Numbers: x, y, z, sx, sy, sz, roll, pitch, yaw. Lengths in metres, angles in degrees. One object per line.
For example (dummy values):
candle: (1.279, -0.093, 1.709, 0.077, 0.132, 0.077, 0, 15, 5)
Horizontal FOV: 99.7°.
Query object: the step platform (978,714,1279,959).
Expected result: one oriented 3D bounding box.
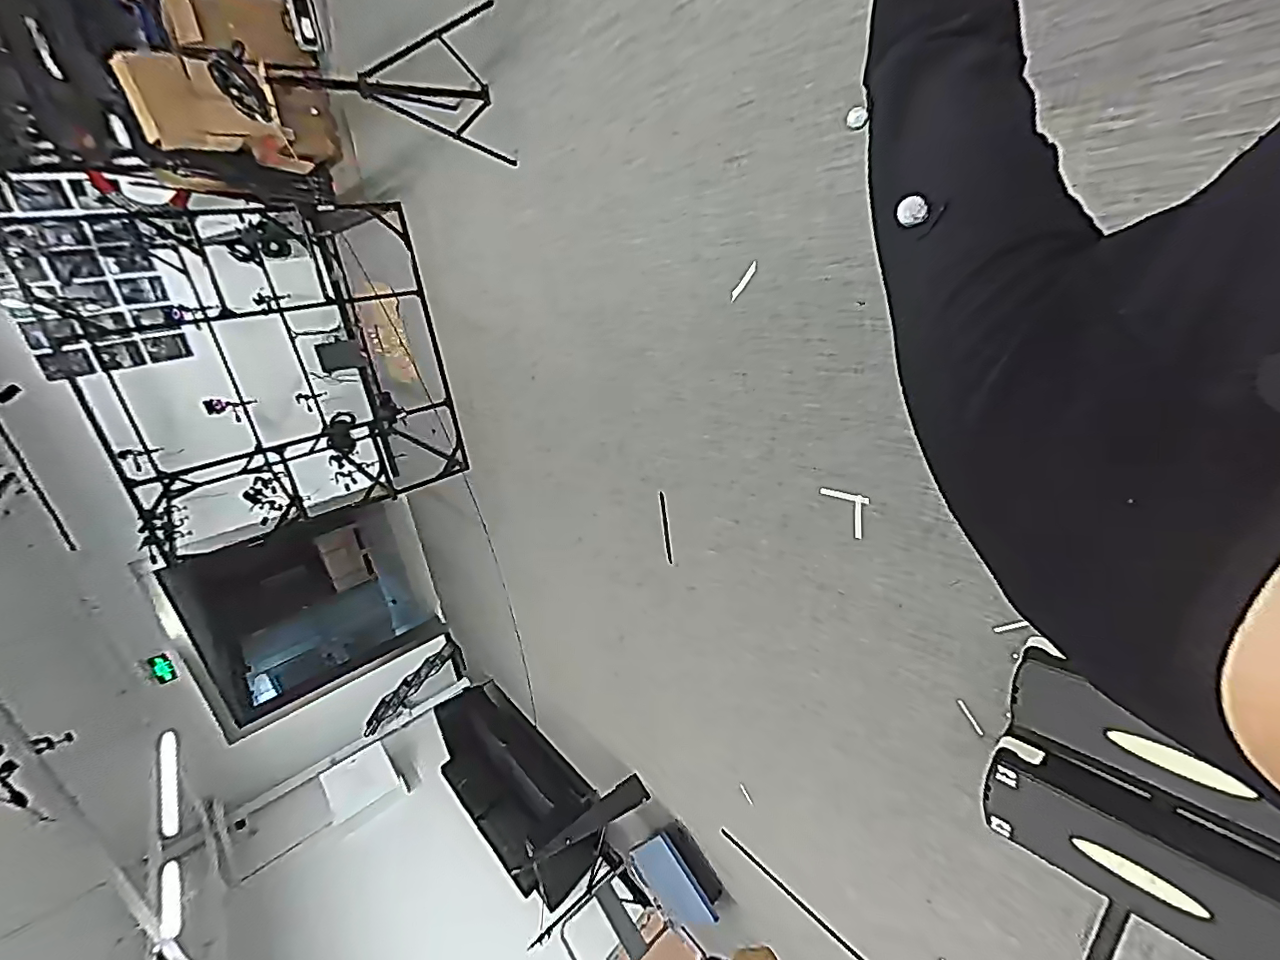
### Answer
step platform: (1.255, 0.904, 1.365, 0.684, 0.204, 0.286, 17, 123, 50)
